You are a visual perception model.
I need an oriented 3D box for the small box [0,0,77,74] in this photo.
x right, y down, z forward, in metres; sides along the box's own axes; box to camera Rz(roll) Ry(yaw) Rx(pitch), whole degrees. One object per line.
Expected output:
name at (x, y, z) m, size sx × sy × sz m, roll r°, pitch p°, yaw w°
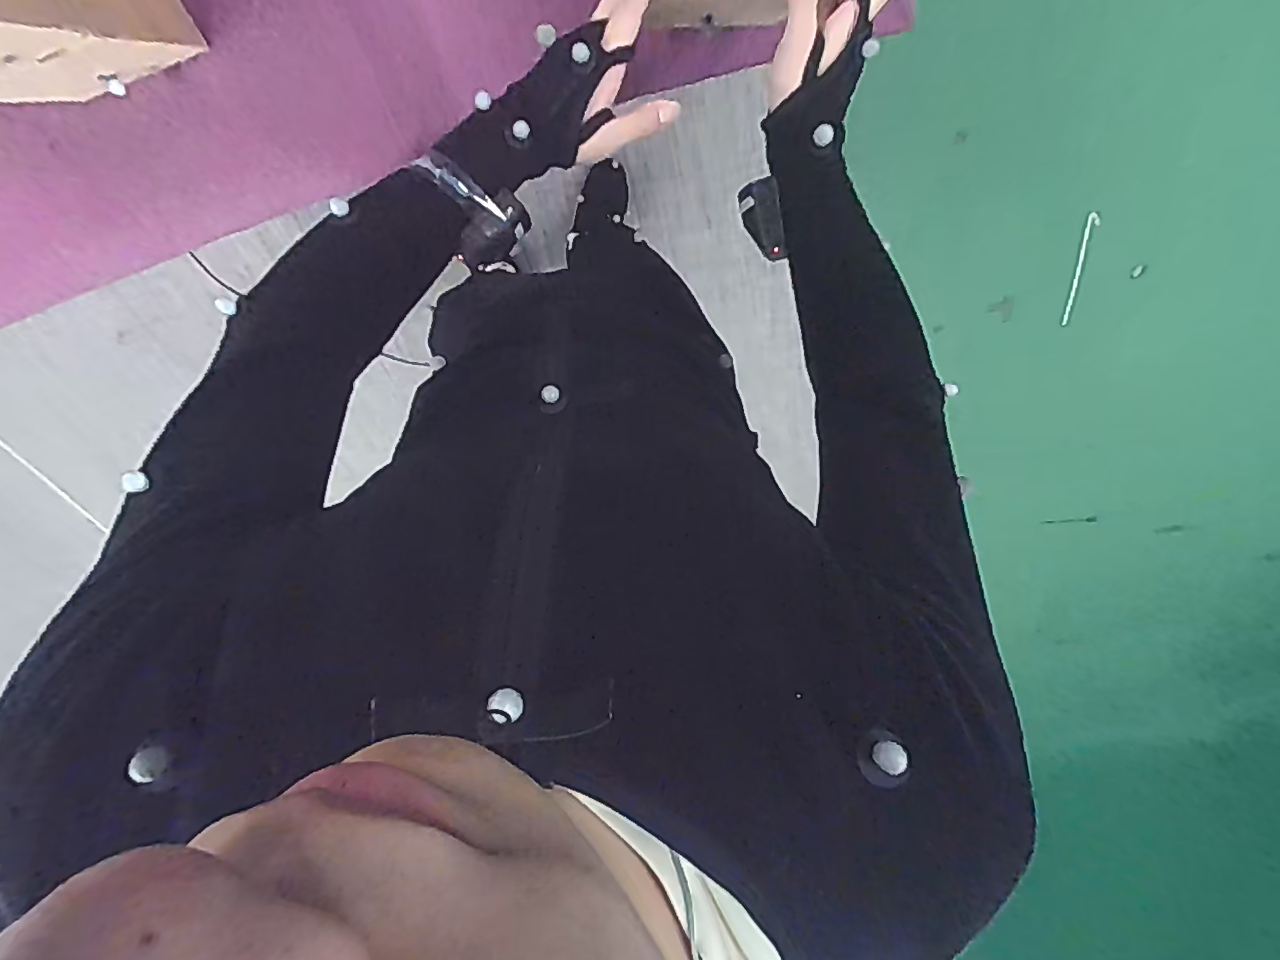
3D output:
small box at (-0.547, -0.362, 0.336) m, size 0.168 × 0.176 × 0.179 m, roll -16°, pitch 125°, yaw 7°

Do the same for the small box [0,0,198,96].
small box at (-0.558, -0.458, 0.470) m, size 0.168 × 0.176 × 0.179 m, roll -15°, pitch 126°, yaw 7°
